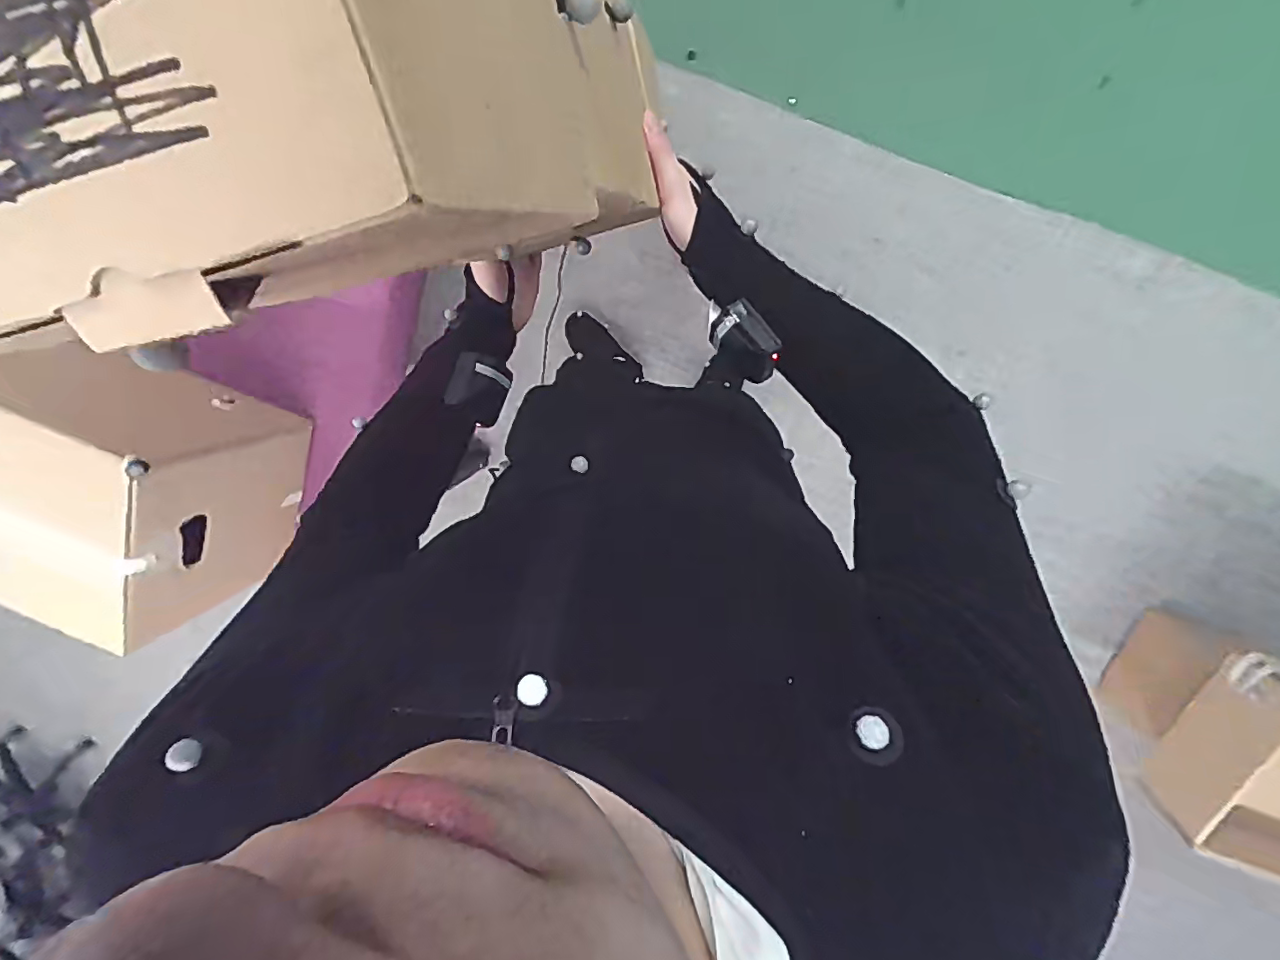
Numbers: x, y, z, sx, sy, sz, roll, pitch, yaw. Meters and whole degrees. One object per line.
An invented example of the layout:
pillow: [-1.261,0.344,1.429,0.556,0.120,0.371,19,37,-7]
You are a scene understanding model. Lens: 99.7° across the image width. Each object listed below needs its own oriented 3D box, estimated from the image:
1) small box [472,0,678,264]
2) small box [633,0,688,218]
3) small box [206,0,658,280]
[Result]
small box: [-0.069,-0.293,0.454,0.168,0.176,0.179,-10,113,14]
small box: [-0.045,-0.370,0.598,0.168,0.176,0.179,-9,112,13]
small box: [-0.094,-0.228,0.308,0.168,0.176,0.179,-11,113,14]
